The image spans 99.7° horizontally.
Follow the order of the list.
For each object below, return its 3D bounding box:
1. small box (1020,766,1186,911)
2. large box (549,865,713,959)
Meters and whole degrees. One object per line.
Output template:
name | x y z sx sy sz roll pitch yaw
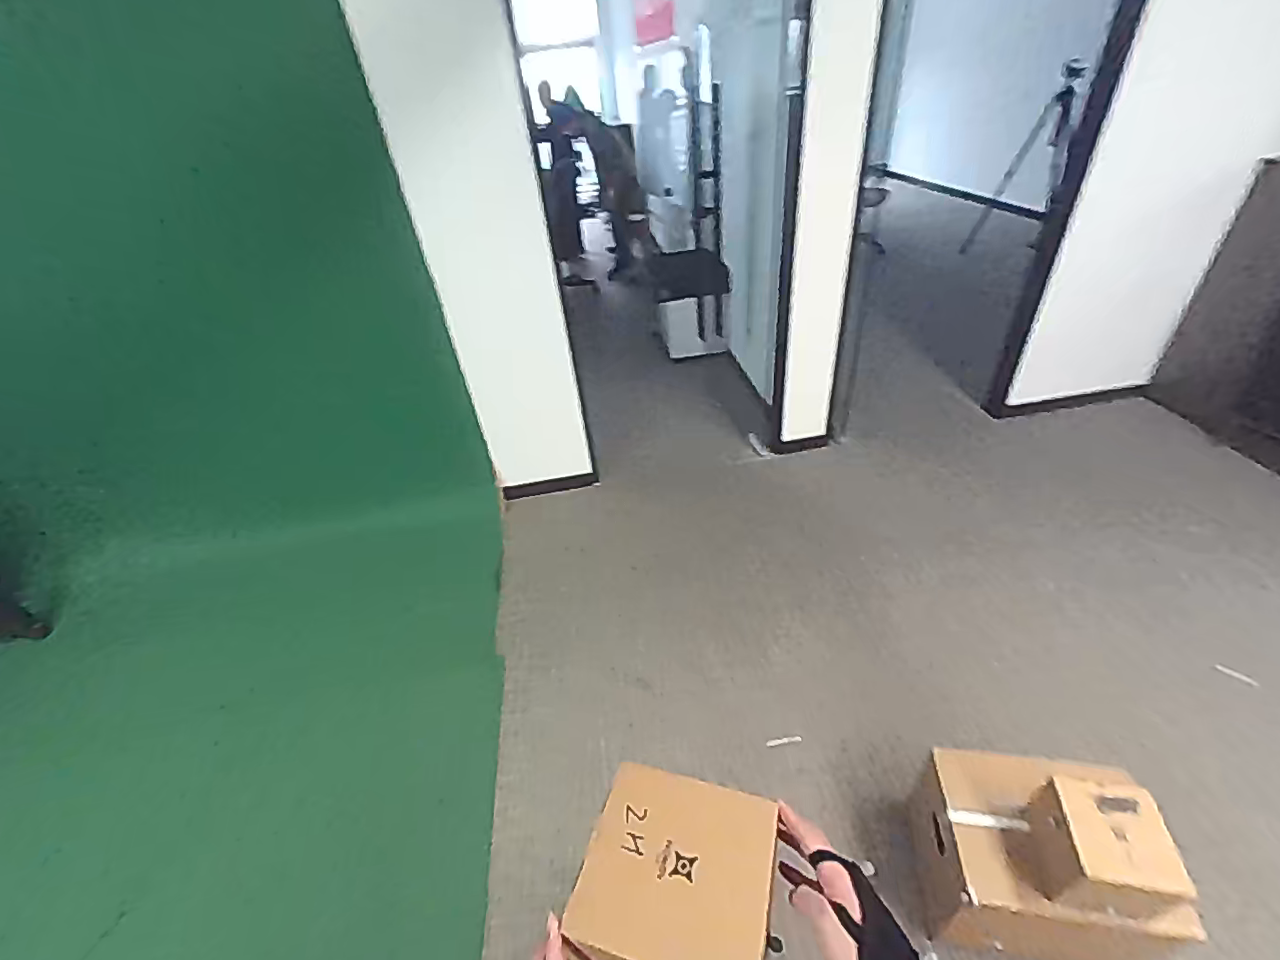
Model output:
small box | 0.873 0.693 1.047 0.168 0.176 0.179 4 41 13
large box | -0.034 1.097 1.070 0.408 0.320 0.320 -33 44 -28
